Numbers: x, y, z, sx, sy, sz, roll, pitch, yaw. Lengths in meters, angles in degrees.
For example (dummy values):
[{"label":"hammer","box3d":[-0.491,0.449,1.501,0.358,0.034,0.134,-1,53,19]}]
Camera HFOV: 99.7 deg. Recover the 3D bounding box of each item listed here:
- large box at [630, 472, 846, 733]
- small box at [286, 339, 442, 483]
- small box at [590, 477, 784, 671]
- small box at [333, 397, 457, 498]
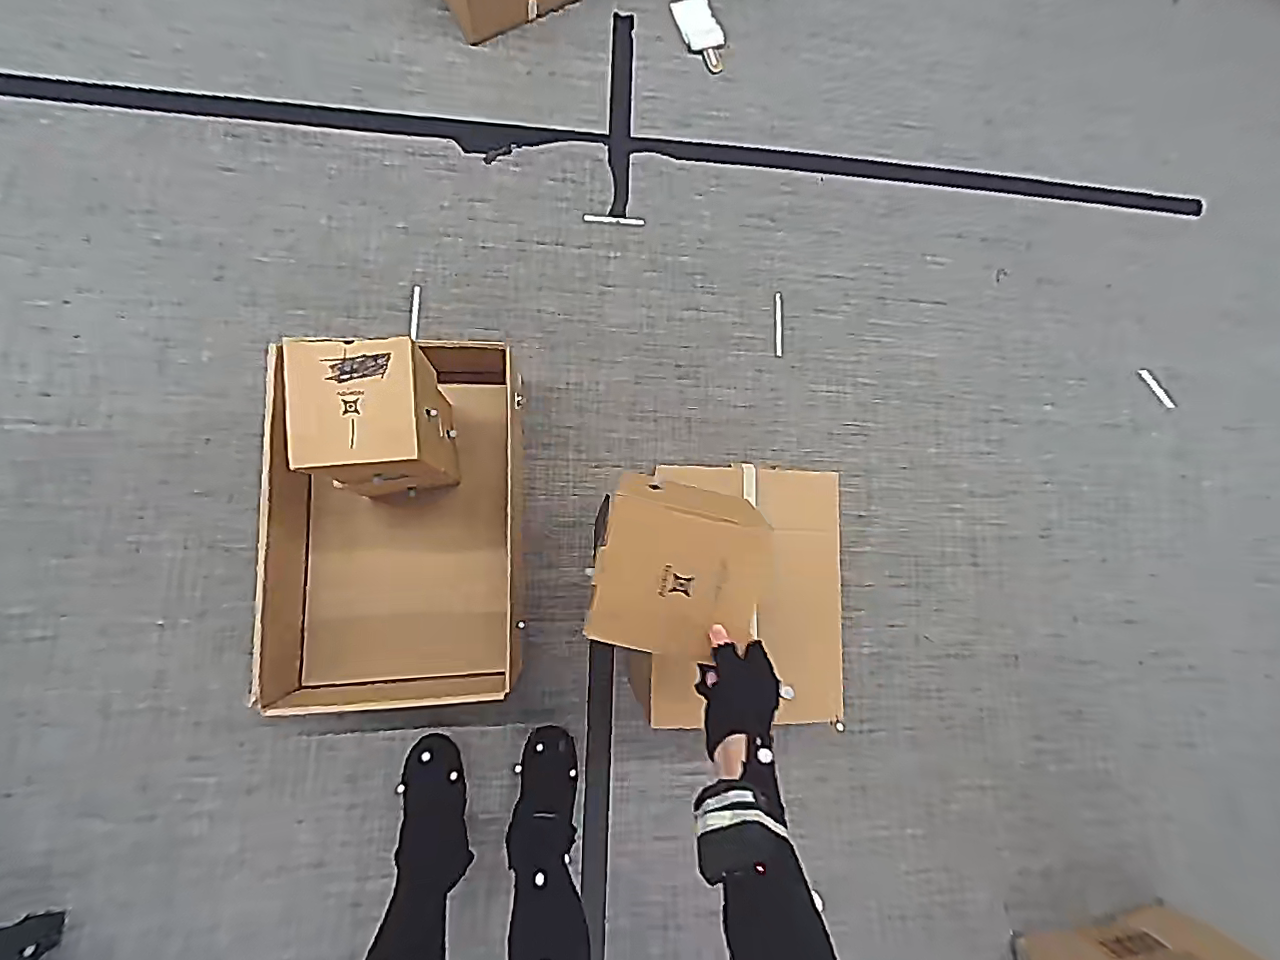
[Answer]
[{"label":"large box","box3d":[0.152,0.200,0.999,0.320,0.320,0.408,1,83,-7]},{"label":"small box","box3d":[-0.401,-0.096,0.809,0.168,0.176,0.179,-5,85,-9]},{"label":"small box","box3d":[0.051,0.098,0.651,0.179,0.176,0.168,13,99,-1]},{"label":"small box","box3d":[-0.434,-0.065,0.969,0.179,0.176,0.168,-9,85,-10]}]
